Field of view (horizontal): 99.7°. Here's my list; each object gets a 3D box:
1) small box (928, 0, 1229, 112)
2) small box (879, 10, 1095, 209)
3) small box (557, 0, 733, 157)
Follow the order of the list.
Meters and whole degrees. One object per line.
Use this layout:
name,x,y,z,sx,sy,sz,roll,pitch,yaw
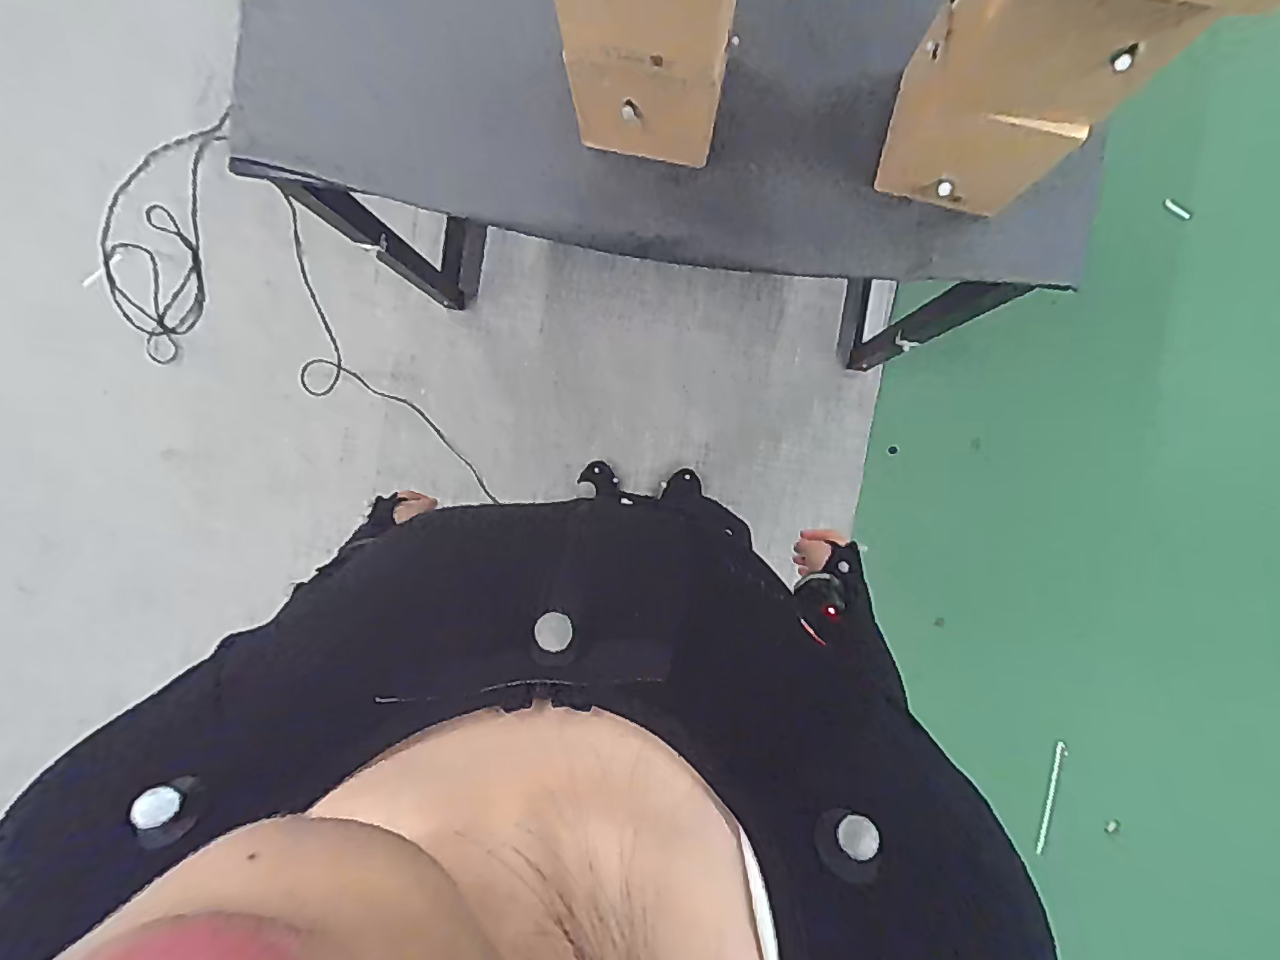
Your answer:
small box,0.394,-0.468,0.485,0.179,0.176,0.168,7,88,4
small box,0.411,-0.464,0.646,0.168,0.176,0.179,15,90,3
small box,0.013,-0.532,0.664,0.179,0.176,0.168,12,91,3
